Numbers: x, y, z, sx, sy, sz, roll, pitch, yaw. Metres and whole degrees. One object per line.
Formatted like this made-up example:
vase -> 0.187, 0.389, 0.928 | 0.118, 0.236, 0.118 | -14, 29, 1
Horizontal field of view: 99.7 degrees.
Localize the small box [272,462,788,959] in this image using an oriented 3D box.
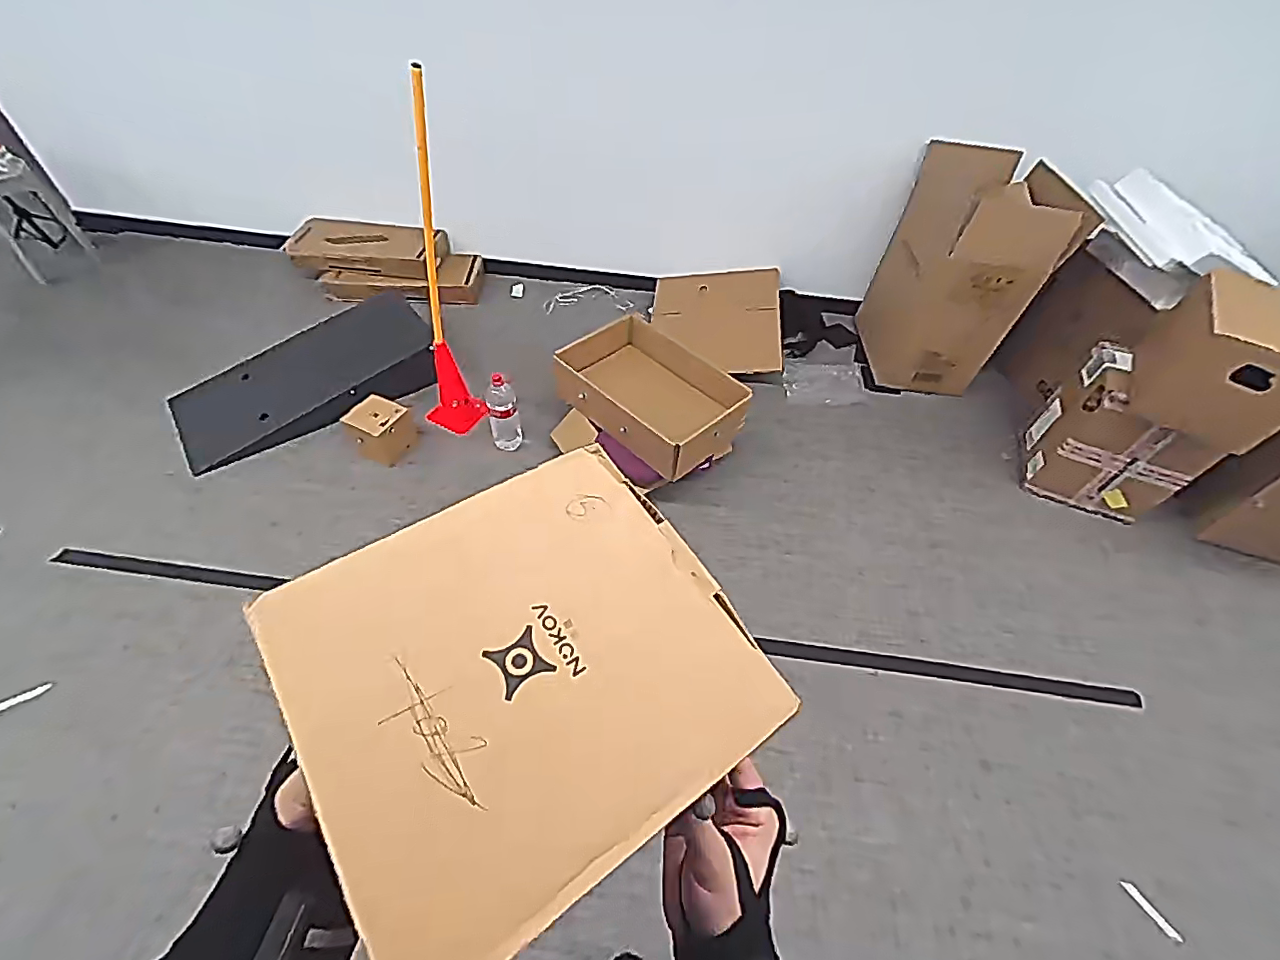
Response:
small box -> -0.057, 0.126, 0.306 | 0.179, 0.176, 0.168 | -28, 64, -24
